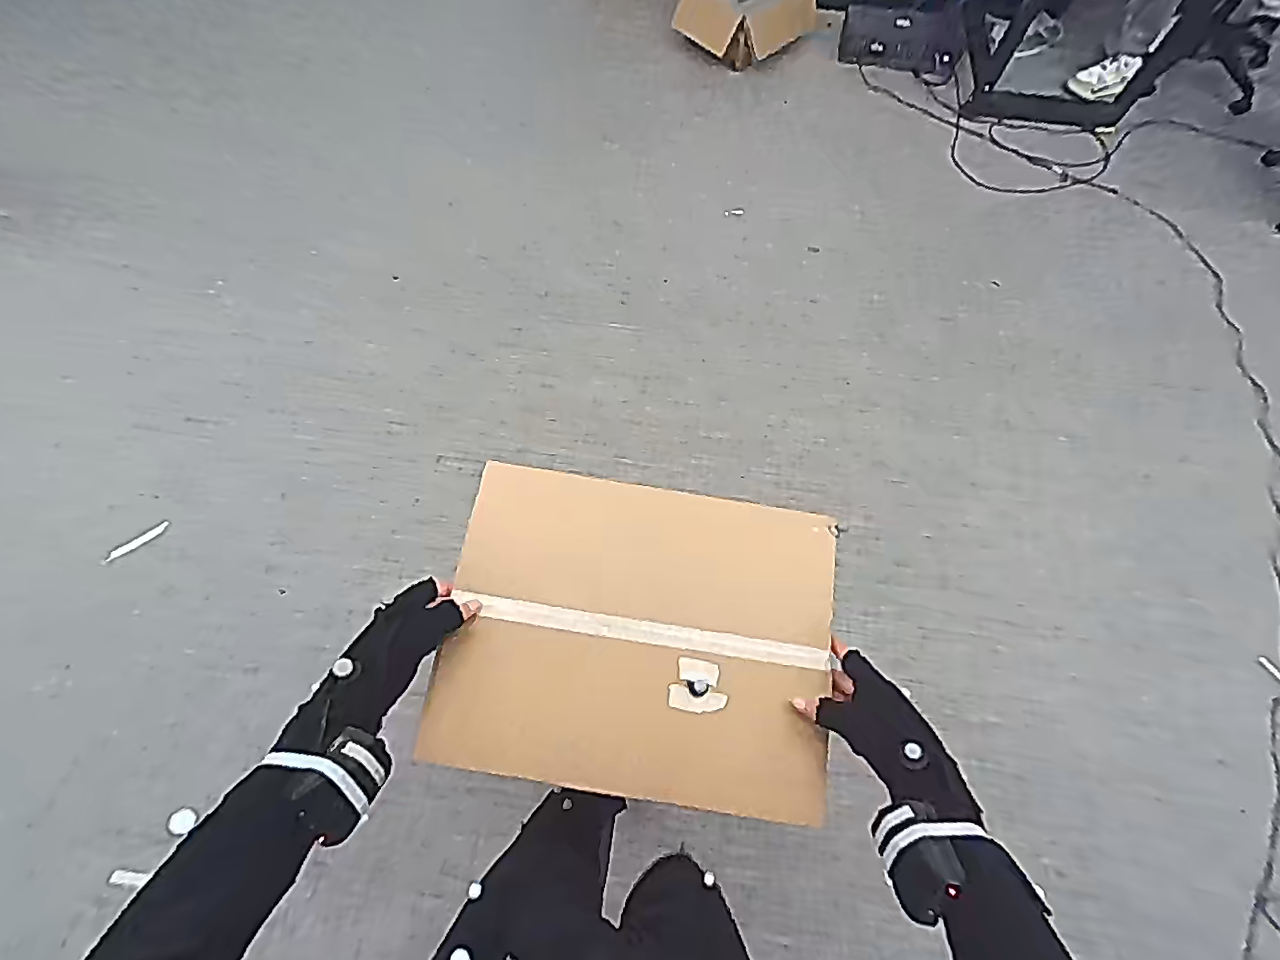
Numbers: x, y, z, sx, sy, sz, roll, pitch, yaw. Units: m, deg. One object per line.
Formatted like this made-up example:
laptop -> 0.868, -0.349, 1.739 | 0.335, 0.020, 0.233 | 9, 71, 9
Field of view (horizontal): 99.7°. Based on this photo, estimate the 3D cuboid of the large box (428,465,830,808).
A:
large box -> -0.006, 0.199, 0.725 | 0.408, 0.320, 0.320 | 10, 74, 0
